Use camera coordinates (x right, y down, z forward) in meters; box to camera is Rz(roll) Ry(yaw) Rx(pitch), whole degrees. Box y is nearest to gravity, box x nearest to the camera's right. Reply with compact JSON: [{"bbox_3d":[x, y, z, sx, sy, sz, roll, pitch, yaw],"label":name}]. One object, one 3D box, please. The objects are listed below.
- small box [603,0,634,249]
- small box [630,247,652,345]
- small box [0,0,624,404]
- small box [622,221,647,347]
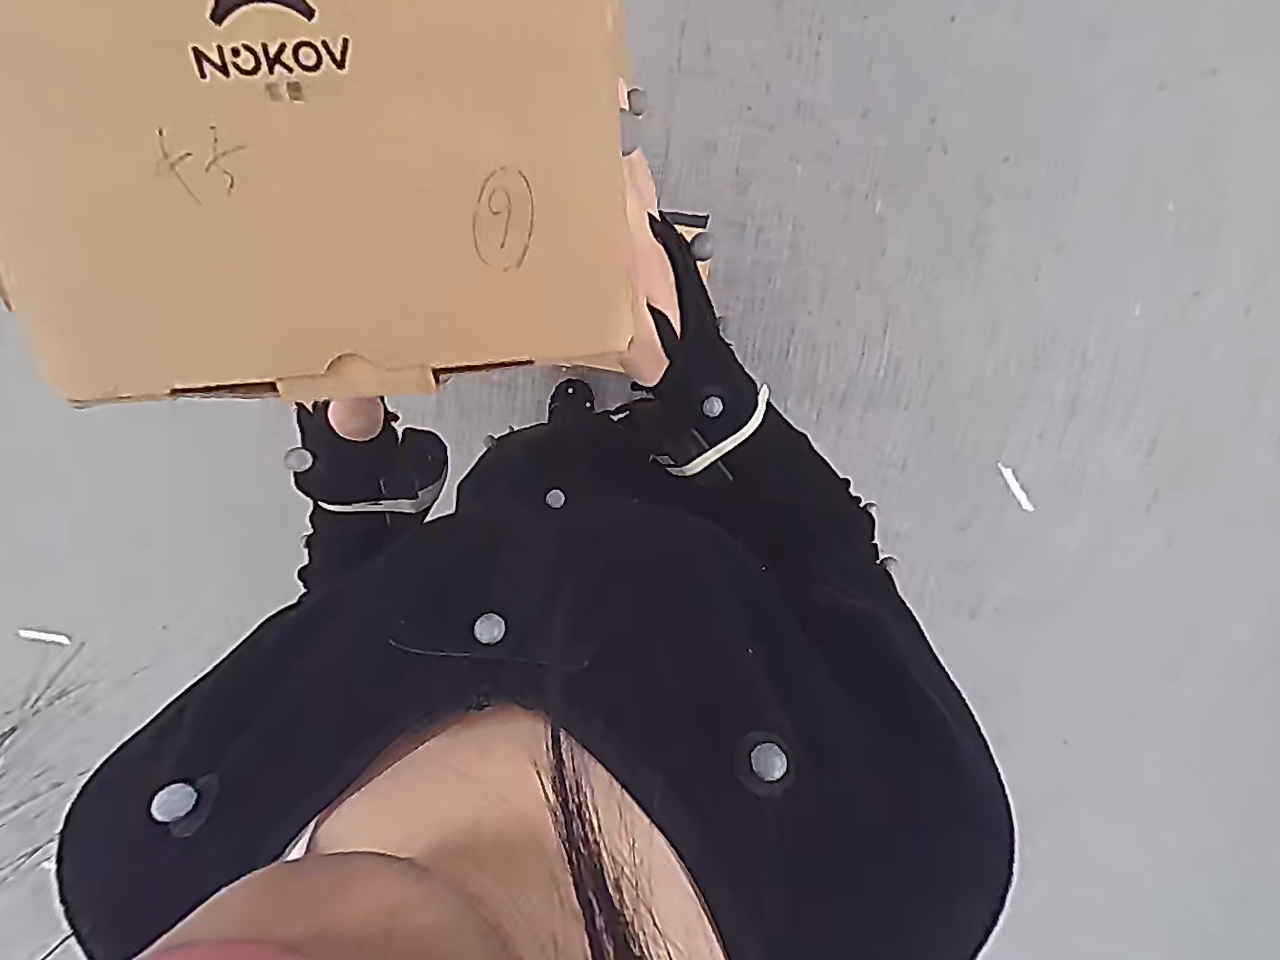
[{"bbox_3d":[-0.098,-0.229,0.402,0.168,0.176,0.179,9,101,1],"label":"small box"},{"bbox_3d":[-0.074,-0.357,1.044,0.179,0.176,0.168,8,101,-1],"label":"small box"},{"bbox_3d":[-0.095,-0.138,0.201,0.168,0.176,0.179,-6,112,-4],"label":"small box"},{"bbox_3d":[-0.084,-0.322,0.886,0.168,0.176,0.179,9,101,0],"label":"small box"}]
